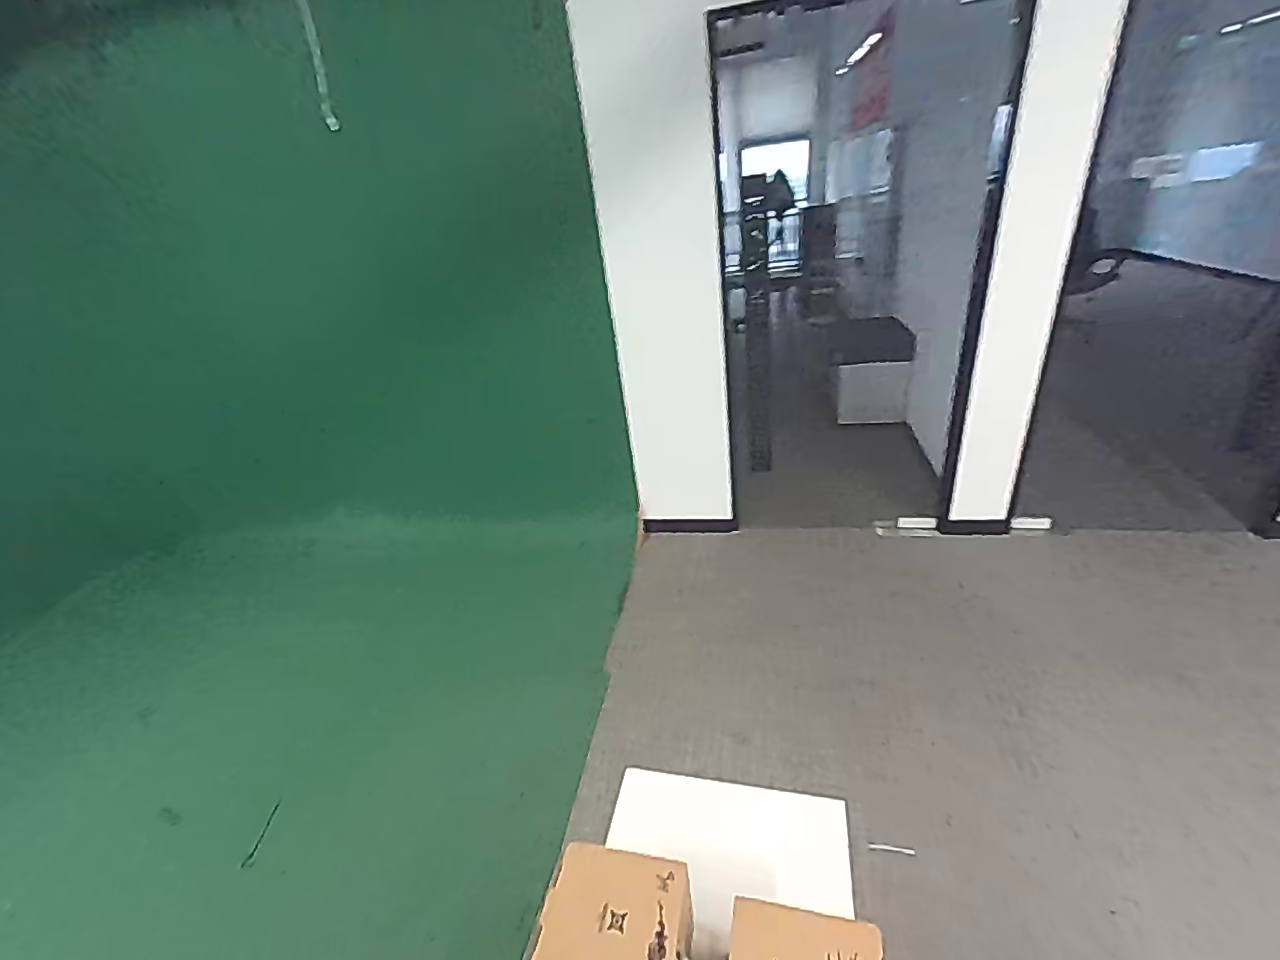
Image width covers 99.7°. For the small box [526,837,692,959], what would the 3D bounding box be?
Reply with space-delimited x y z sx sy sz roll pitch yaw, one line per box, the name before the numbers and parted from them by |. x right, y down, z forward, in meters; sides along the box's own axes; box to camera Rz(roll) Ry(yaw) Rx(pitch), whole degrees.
small box | -0.031 0.625 0.727 0.179 0.176 0.168 1 29 14
